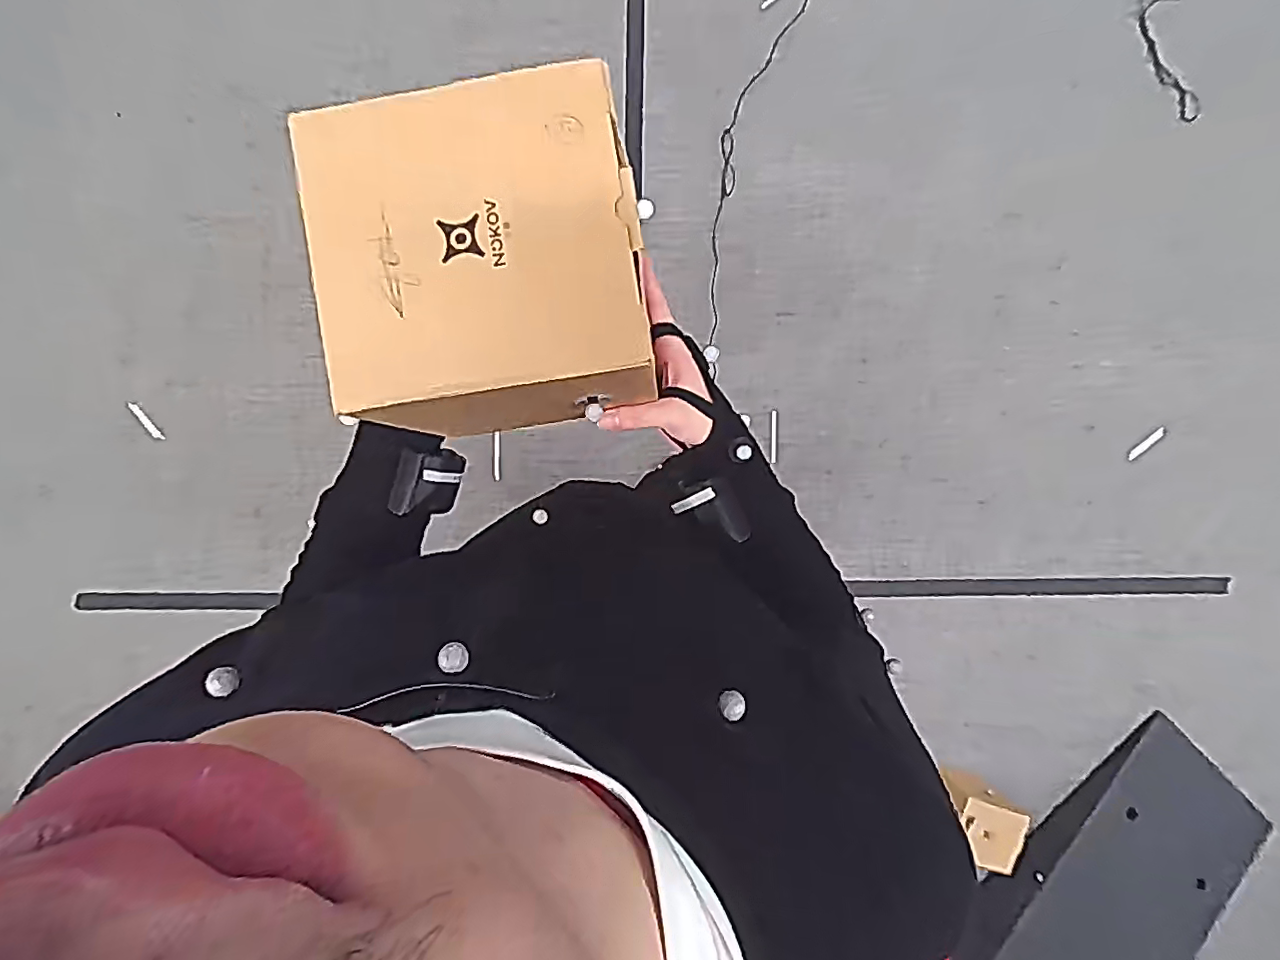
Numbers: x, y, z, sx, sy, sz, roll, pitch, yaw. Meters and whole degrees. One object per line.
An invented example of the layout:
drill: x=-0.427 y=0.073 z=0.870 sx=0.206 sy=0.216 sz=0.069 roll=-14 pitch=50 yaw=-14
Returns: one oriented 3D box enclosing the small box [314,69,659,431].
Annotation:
small box: x=-0.084 y=-0.133 z=0.380 sx=0.179 sy=0.176 sz=0.168 roll=-9 pitch=88 yaw=3
